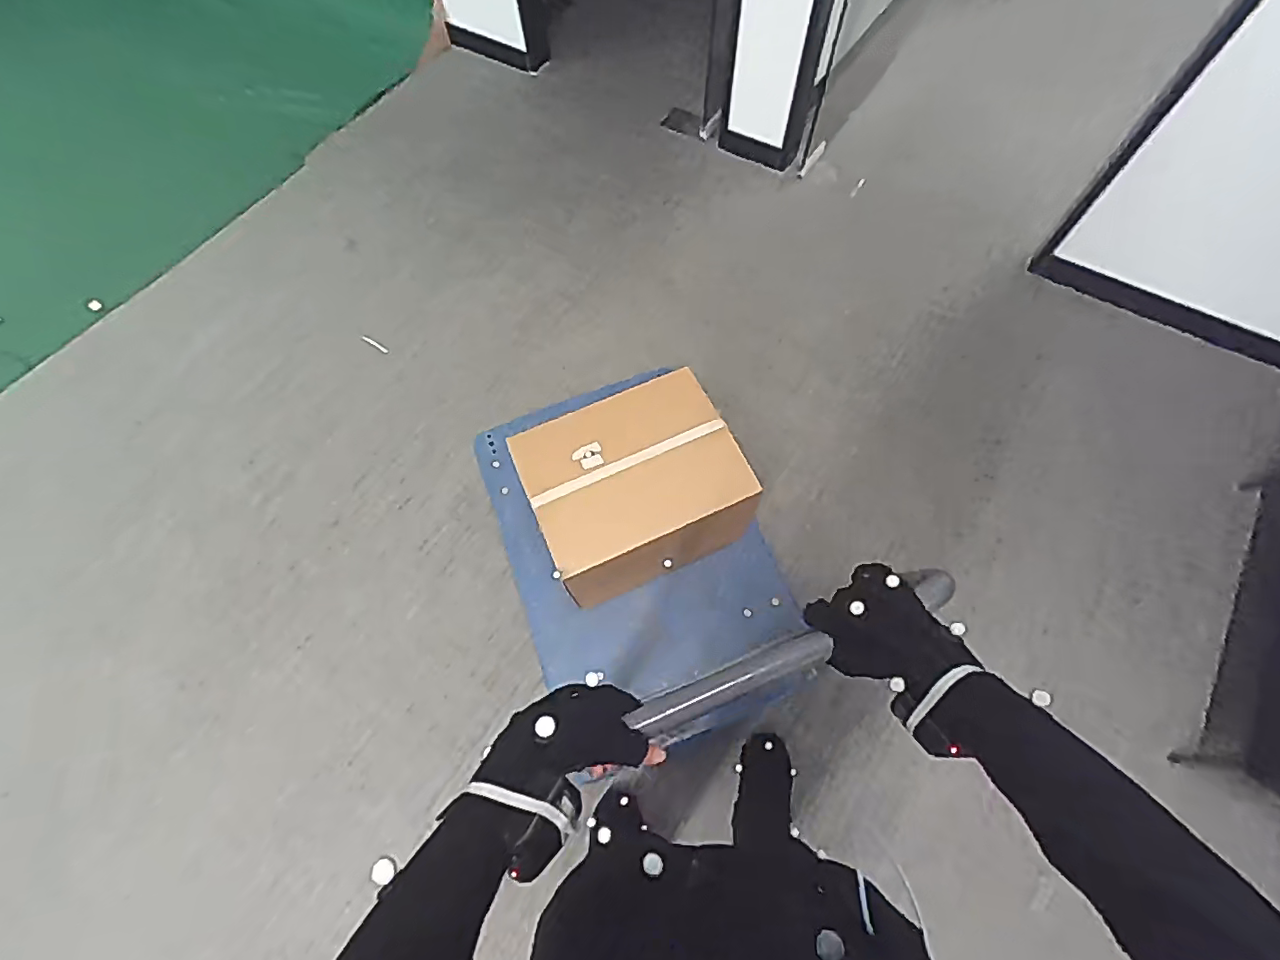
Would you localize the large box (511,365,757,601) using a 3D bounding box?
[{"bbox_3d":[-0.010,0.021,1.185,0.408,0.320,0.320,-24,68,-7],"label":"large box"}]
